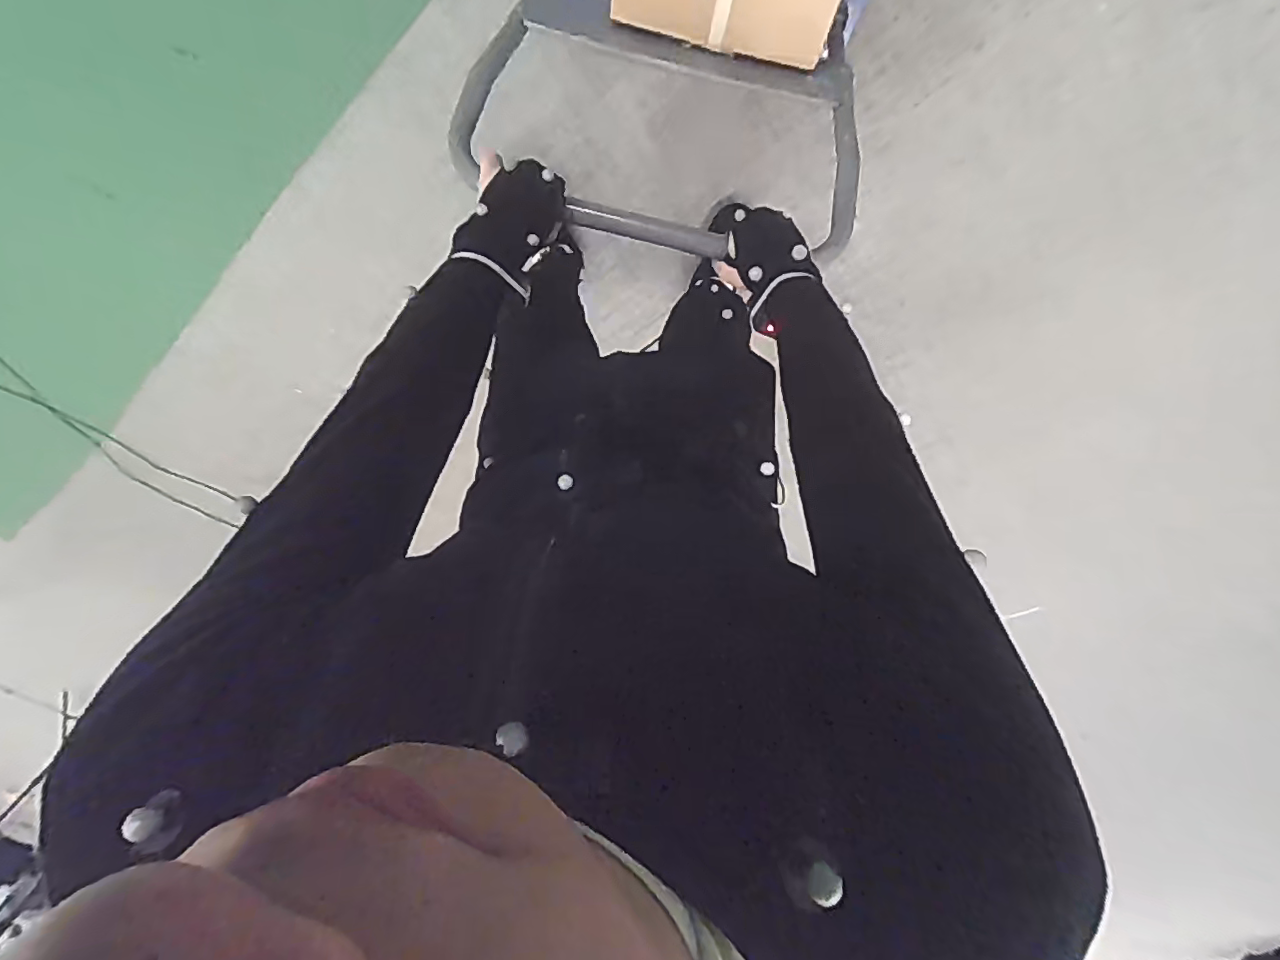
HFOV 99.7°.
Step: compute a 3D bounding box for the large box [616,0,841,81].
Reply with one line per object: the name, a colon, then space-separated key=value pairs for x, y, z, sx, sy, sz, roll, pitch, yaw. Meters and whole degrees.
large box: x=0.167 y=-0.871 z=0.752 sx=0.320 sy=0.320 sz=0.408 roll=13 pitch=143 yaw=-3
